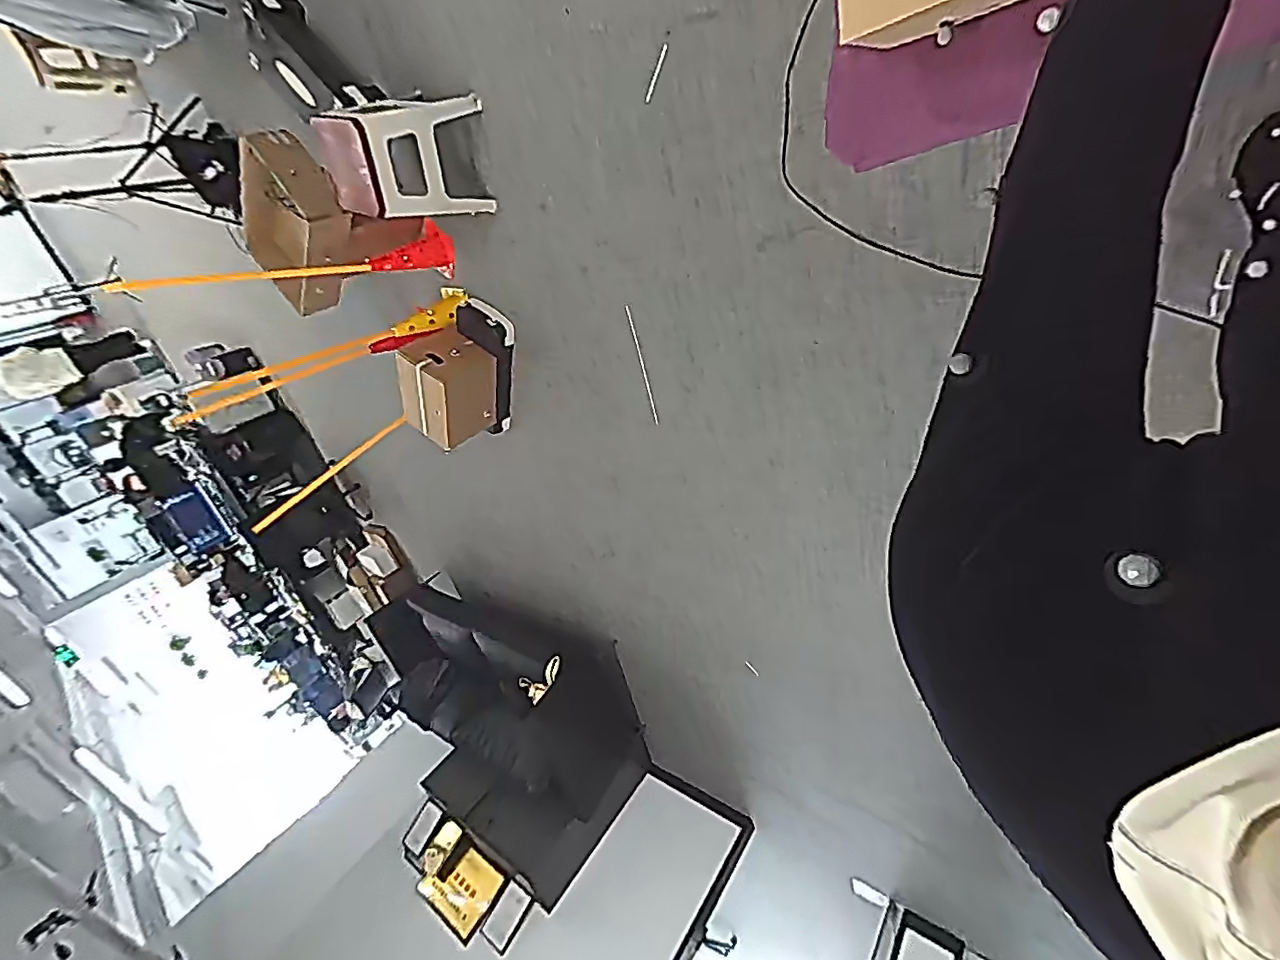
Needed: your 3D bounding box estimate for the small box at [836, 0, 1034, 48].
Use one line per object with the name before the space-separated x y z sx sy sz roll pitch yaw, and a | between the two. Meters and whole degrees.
small box | 0.285 -0.529 0.491 0.168 0.176 0.179 8 124 40
